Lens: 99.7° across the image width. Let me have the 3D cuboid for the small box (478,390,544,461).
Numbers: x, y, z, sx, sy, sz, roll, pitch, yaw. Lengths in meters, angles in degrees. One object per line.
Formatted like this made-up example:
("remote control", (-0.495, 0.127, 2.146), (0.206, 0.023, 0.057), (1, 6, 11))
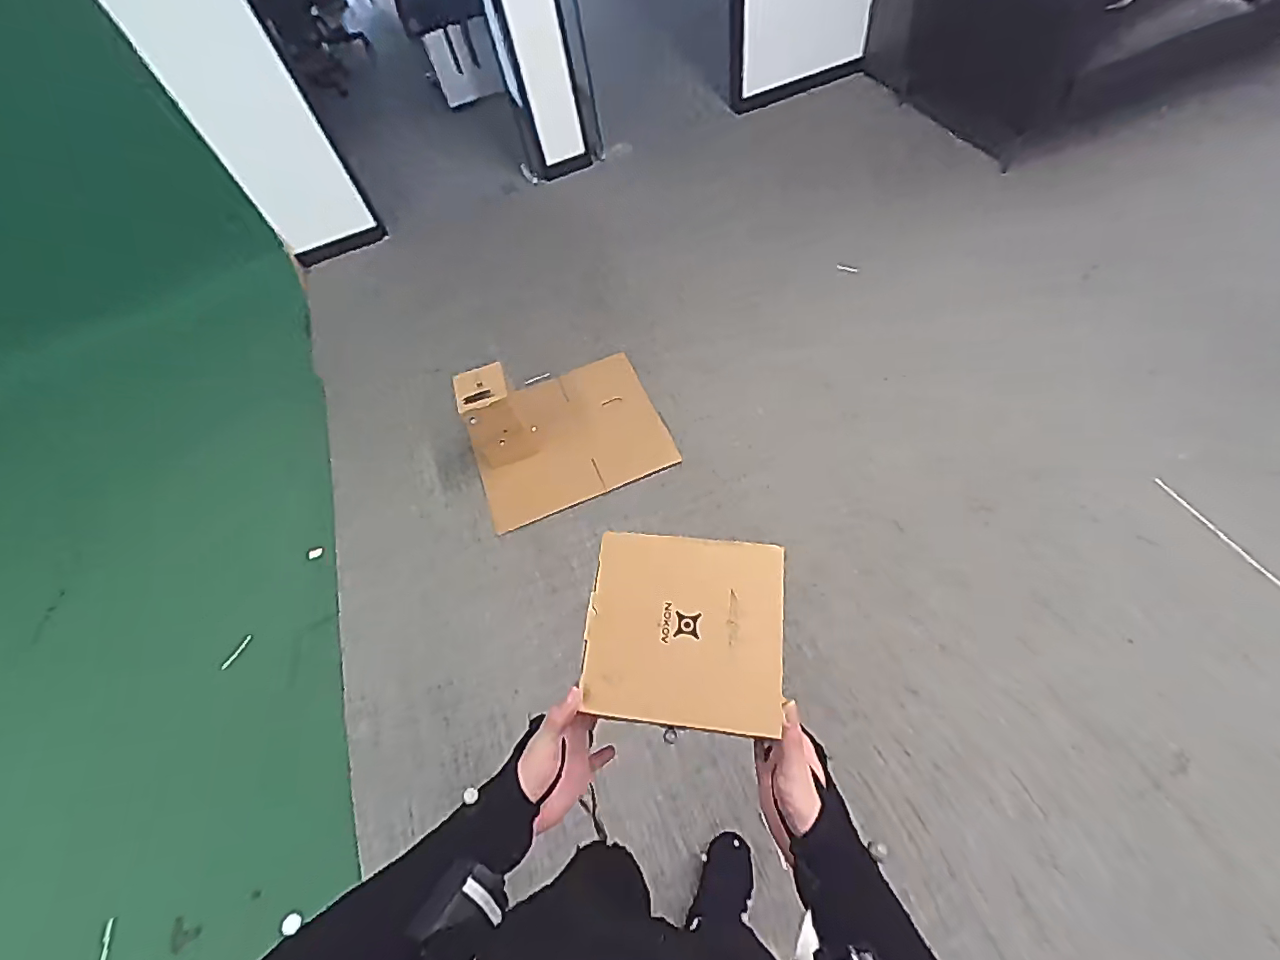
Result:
("small box", (-0.471, -0.193, 1.978), (0.179, 0.176, 0.168), (-18, 57, -3))

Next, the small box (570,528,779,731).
("small box", (0.044, 0.160, 0.560), (0.179, 0.176, 0.168), (4, 66, 9))
